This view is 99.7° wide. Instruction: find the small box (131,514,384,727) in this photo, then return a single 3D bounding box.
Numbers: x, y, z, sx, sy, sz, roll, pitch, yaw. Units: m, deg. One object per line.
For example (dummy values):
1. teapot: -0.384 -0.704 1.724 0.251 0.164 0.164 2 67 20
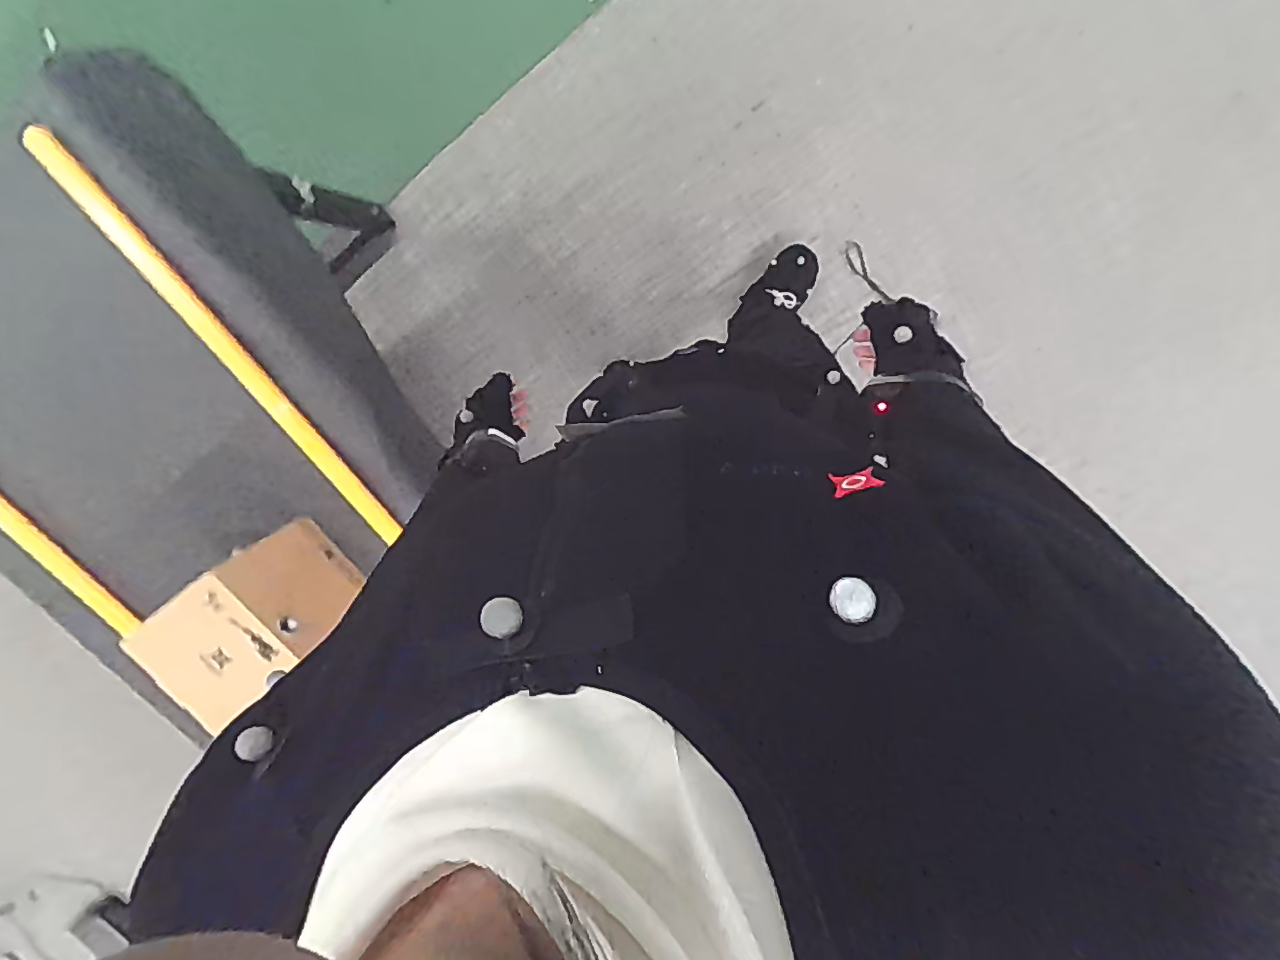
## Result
1. small box: -0.482 0.175 0.710 0.179 0.176 0.168 -34 103 15
